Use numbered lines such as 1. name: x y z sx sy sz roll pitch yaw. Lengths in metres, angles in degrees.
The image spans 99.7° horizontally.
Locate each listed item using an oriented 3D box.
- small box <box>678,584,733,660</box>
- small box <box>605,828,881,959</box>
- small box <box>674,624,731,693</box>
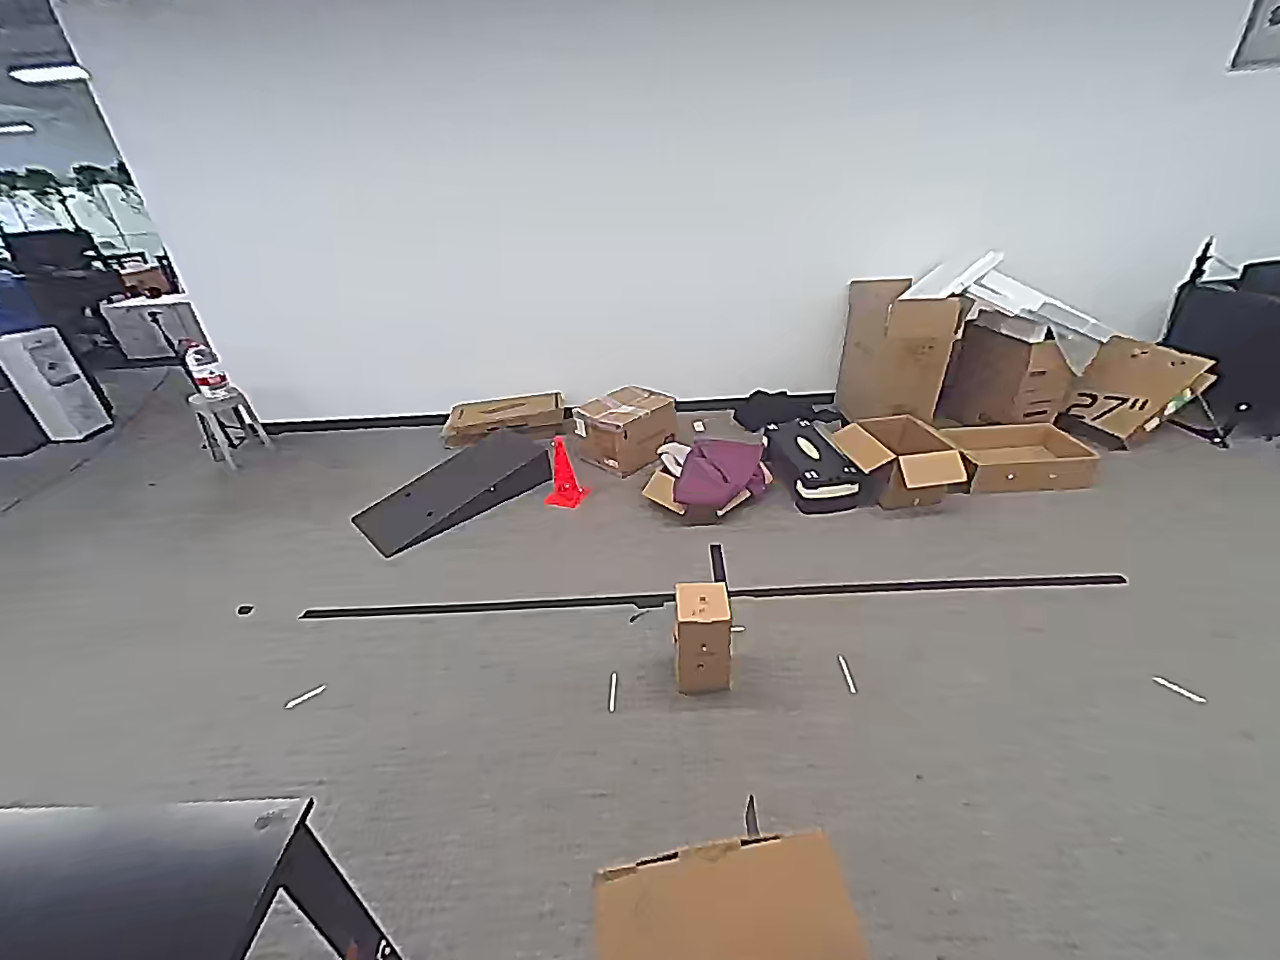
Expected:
1. small box: 0.207 0.461 1.757 0.168 0.176 0.179 -2 31 3
2. small box: 0.071 0.366 0.364 0.168 0.176 0.179 -9 45 -2
3. small box: 0.211 0.603 1.839 0.179 0.176 0.168 -4 30 -1
